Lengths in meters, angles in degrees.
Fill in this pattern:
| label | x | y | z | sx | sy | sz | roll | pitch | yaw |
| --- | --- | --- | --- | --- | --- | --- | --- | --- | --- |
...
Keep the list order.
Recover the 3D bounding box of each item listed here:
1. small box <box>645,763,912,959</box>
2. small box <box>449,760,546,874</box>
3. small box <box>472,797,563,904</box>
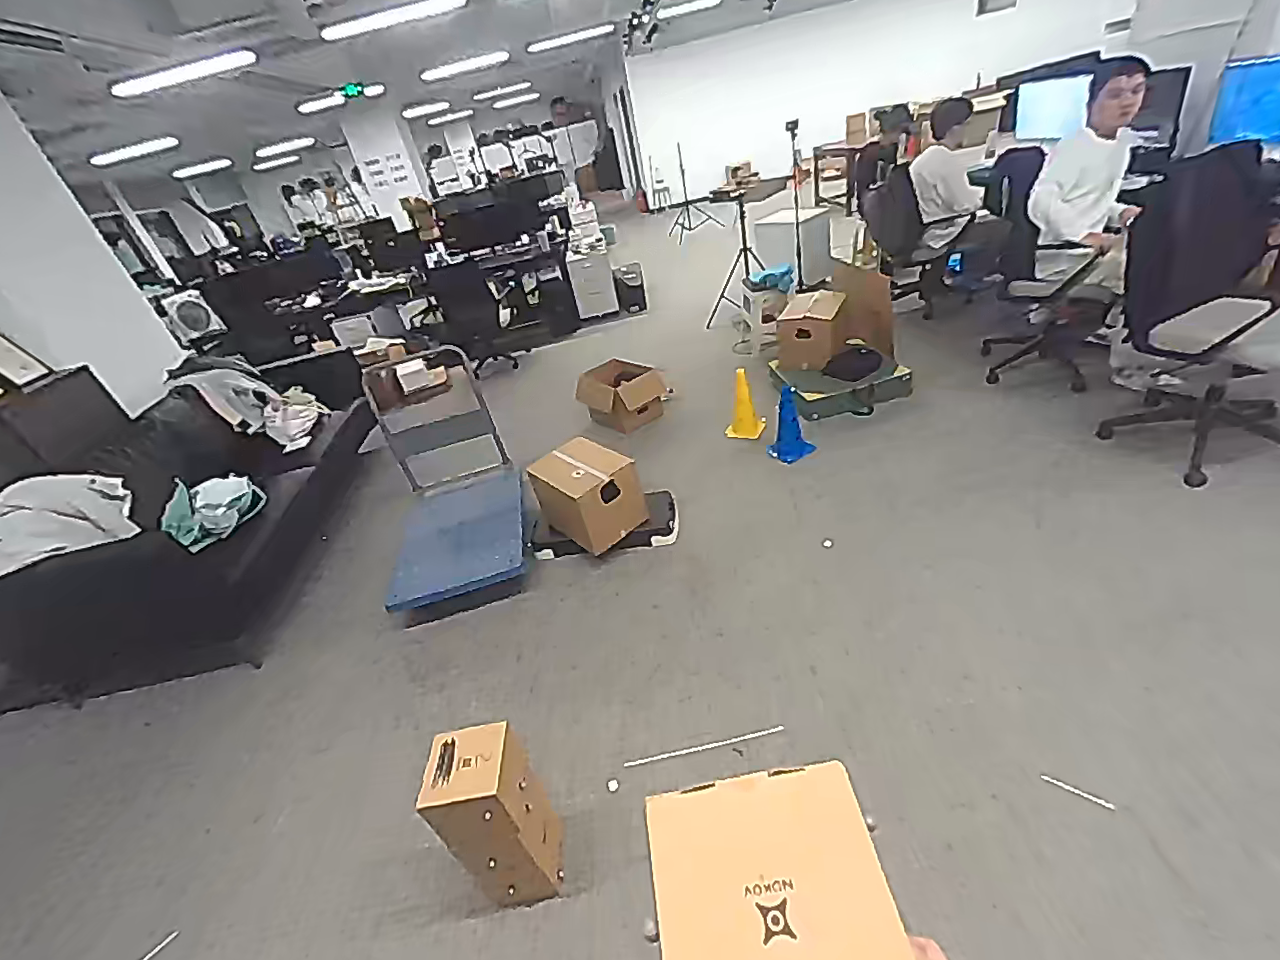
| label | x | y | z | sx | sy | sz | roll | pitch | yaw |
| --- | --- | --- | --- | --- | --- | --- | --- | --- | --- |
| small box | 0.107 | 0.358 | 0.429 | 0.168 | 0.176 | 0.179 | -12 | 42 | 2 |
| small box | -0.331 | 0.811 | 1.295 | 0.168 | 0.176 | 0.179 | -12 | 33 | 3 |
| small box | -0.302 | 0.947 | 1.383 | 0.179 | 0.176 | 0.168 | -14 | 33 | 3 |
